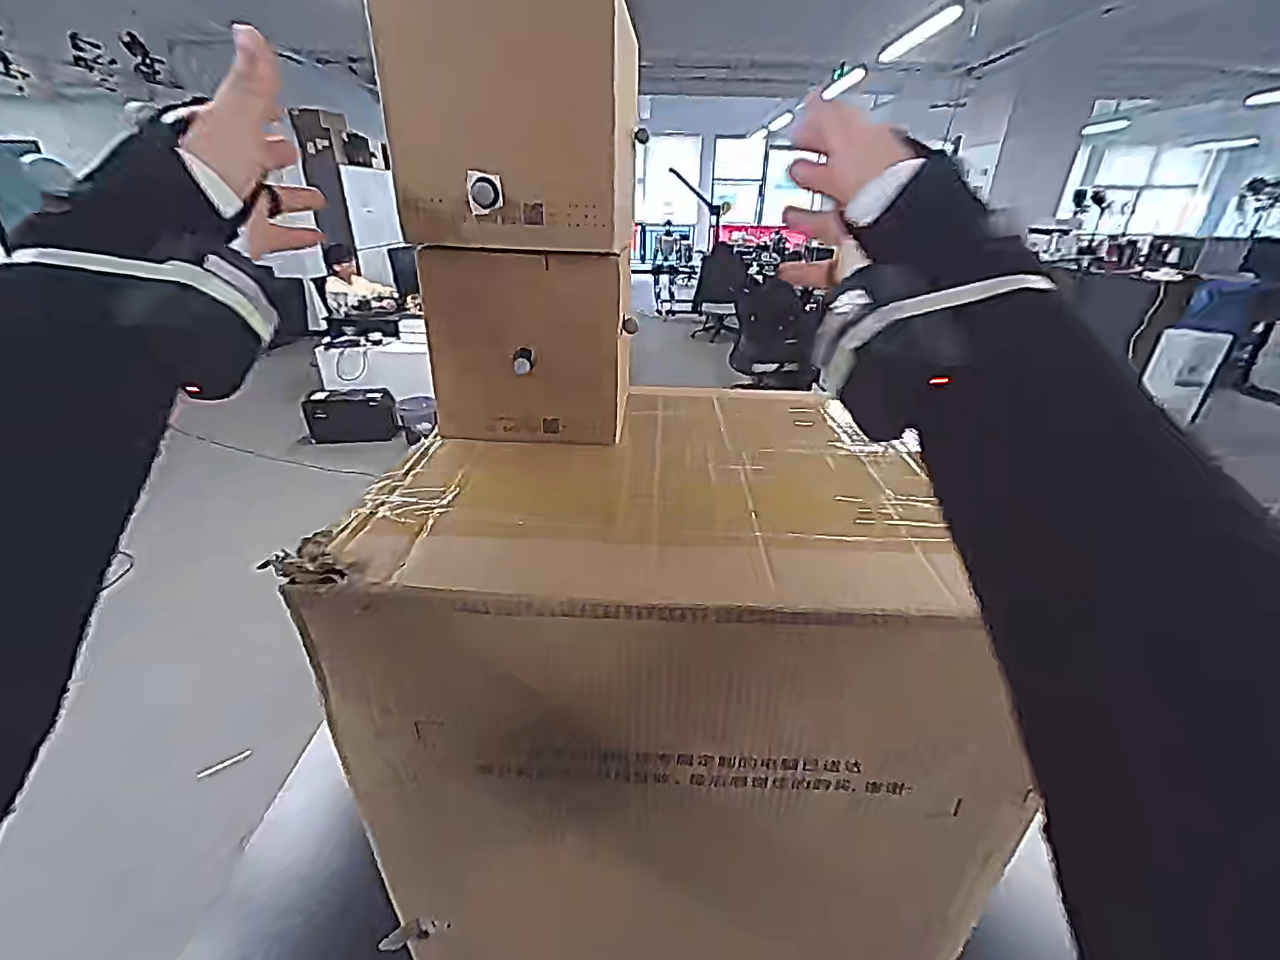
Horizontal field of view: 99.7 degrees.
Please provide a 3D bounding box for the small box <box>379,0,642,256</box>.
[{"bbox_3d":[-0.087,-0.283,0.444,0.168,0.176,0.179,2,27,3],"label":"small box"}]

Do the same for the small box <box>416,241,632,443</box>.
[{"bbox_3d":[-0.094,-0.144,0.531,0.168,0.176,0.179,2,27,0],"label":"small box"}]
